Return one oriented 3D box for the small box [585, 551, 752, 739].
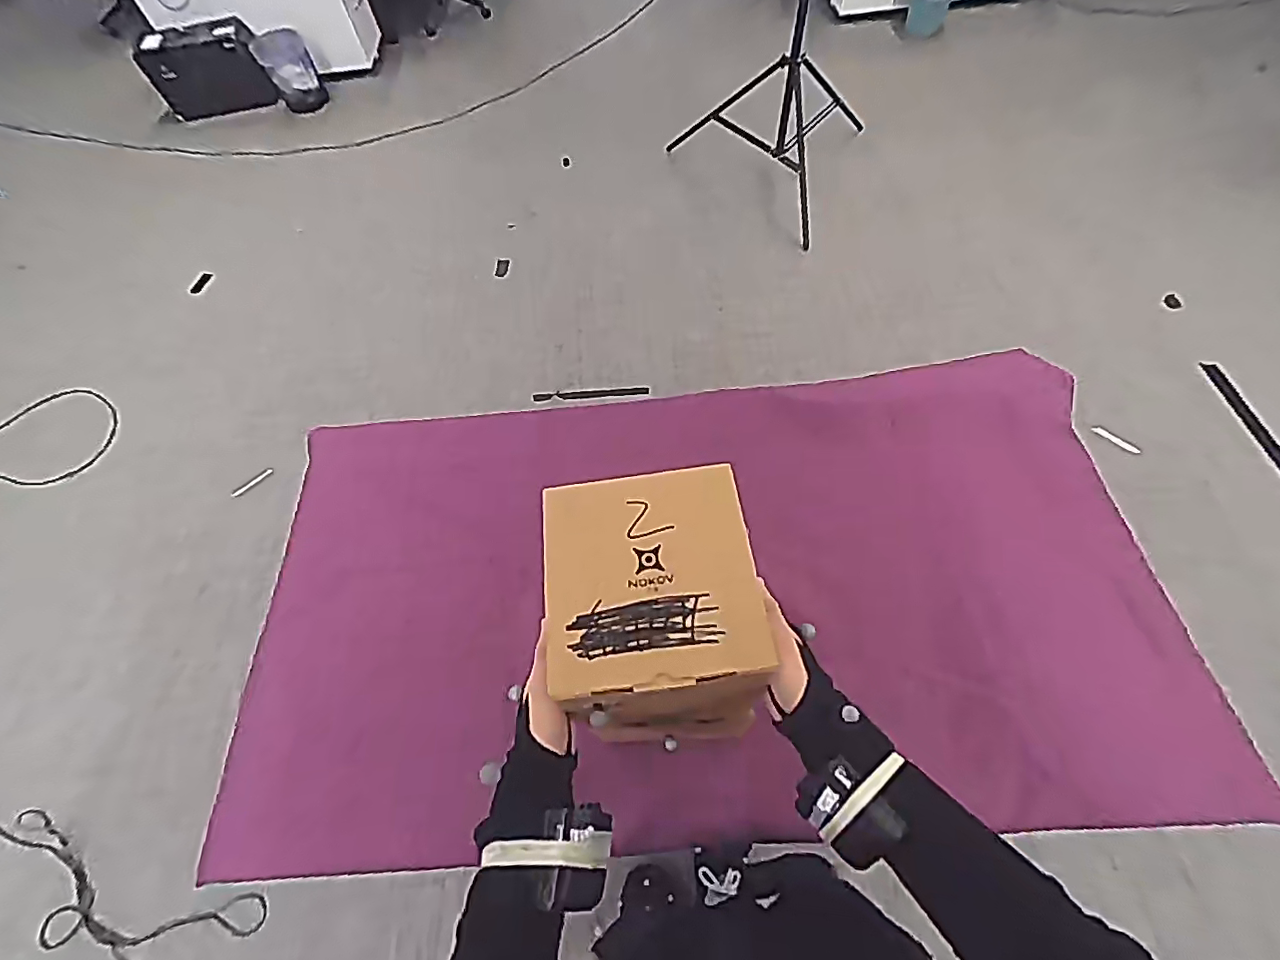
[{"bbox_3d":[0.031,0.198,0.634,0.168,0.176,0.179,-4,60,3],"label":"small box"}]
